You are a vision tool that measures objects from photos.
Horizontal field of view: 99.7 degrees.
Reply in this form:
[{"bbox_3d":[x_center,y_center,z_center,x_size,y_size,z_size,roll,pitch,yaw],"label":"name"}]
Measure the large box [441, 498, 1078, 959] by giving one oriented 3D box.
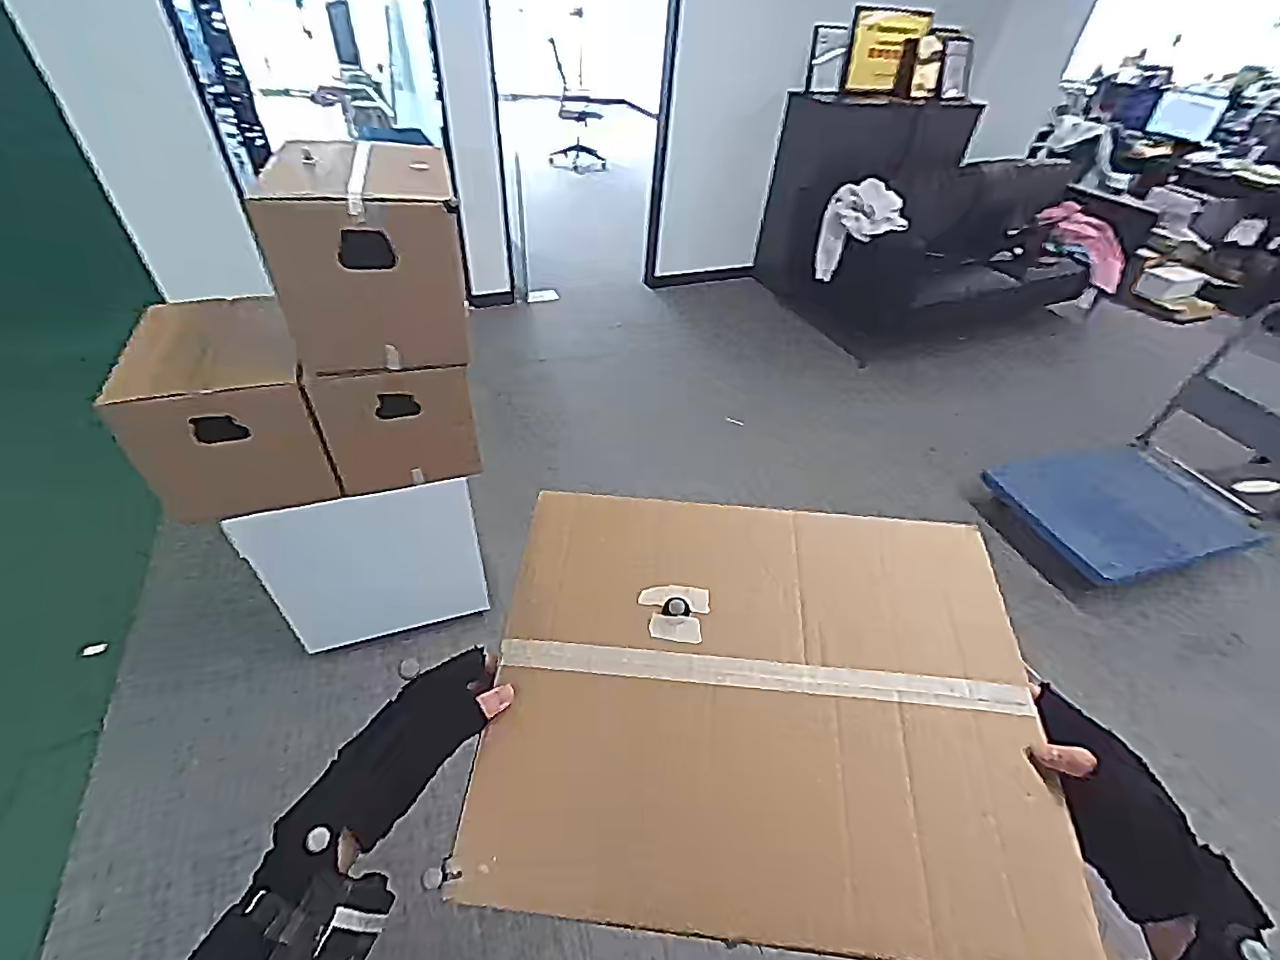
[{"bbox_3d":[0.086,0.238,0.542,0.408,0.320,0.320,4,54,4],"label":"large box"}]
